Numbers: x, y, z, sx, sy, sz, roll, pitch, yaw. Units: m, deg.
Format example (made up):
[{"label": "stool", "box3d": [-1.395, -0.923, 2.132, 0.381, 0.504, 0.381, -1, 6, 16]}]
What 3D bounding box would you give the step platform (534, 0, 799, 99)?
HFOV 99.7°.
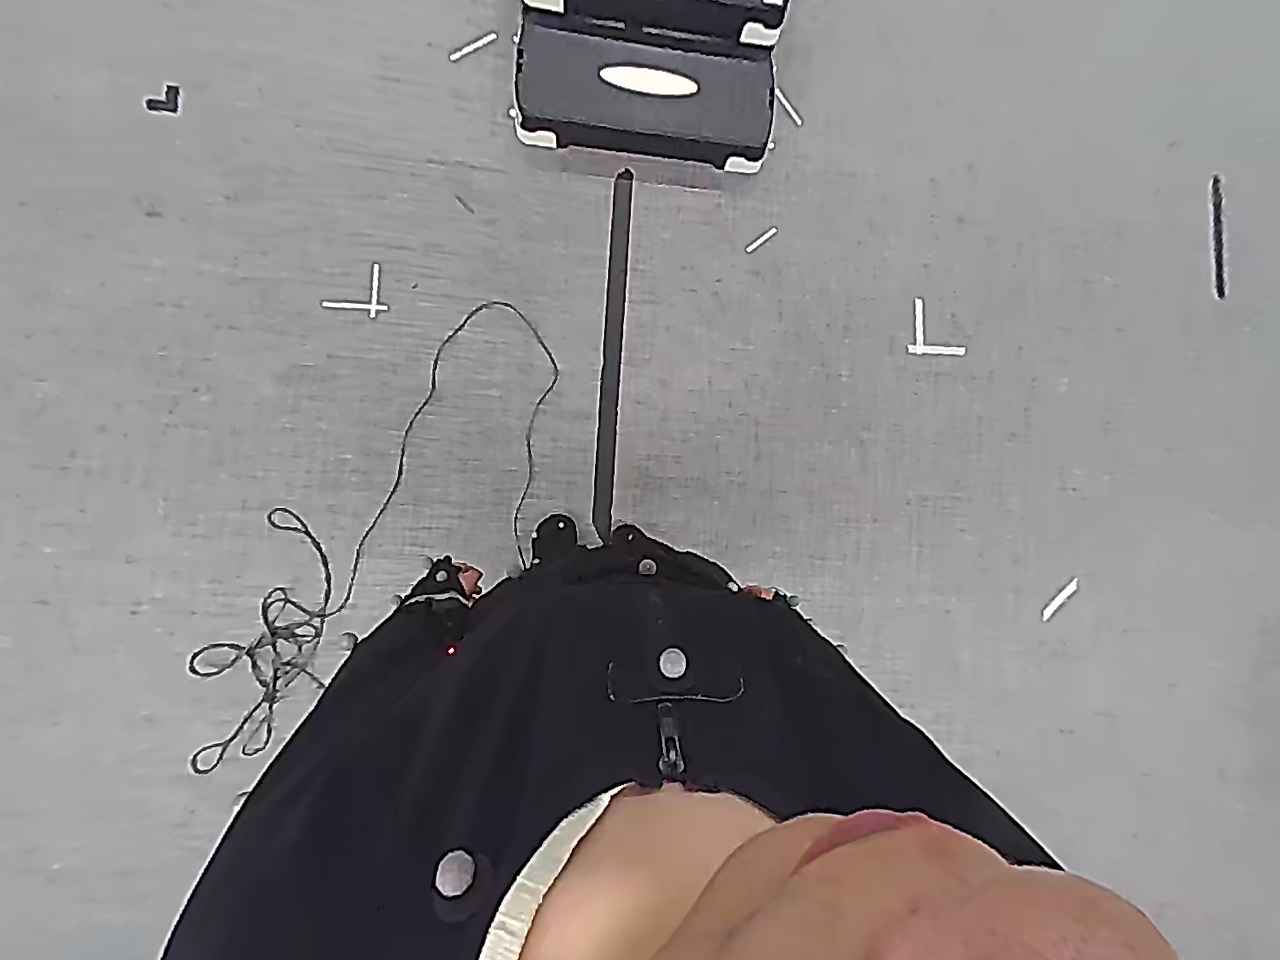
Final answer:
[{"label": "step platform", "box3d": [0.070, -1.260, 1.419, 0.684, 0.204, 0.286, 8, 85, -7]}]
